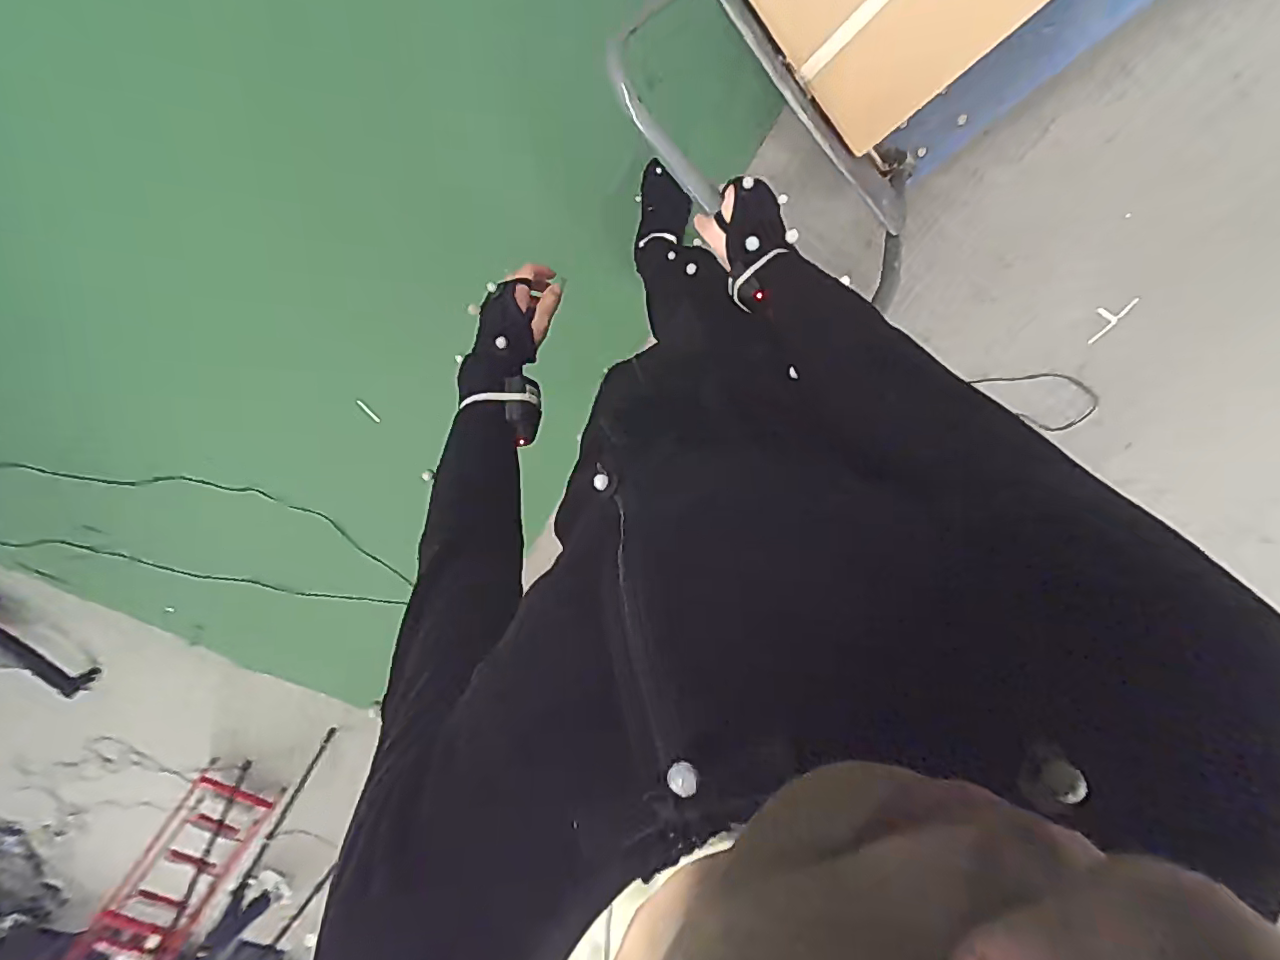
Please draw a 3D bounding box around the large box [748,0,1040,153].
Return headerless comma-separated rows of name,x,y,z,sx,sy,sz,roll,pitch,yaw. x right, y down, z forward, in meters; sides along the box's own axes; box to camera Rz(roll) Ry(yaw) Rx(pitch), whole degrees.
large box,0.420,-0.803,0.813,0.320,0.320,0.408,43,134,-20
